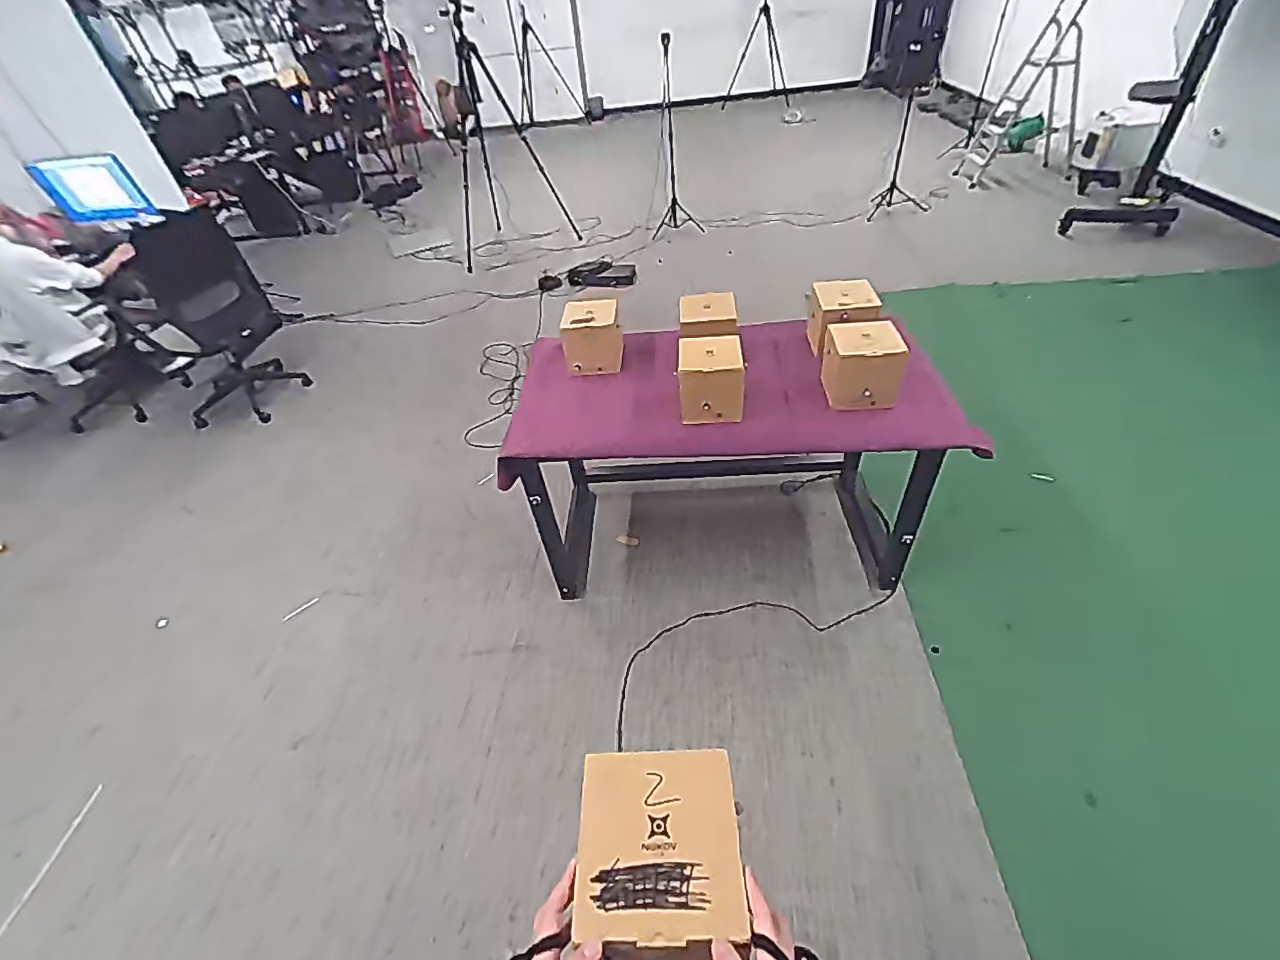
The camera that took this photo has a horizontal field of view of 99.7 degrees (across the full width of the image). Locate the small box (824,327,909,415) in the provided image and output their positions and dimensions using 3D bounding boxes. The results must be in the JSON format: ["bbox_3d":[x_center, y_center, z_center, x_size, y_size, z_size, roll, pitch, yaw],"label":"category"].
[{"bbox_3d":[0.596,-0.290,1.445,0.168,0.176,0.179,-1,41,8],"label":"small box"}]

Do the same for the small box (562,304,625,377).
[{"bbox_3d":[-0.140,-0.438,1.716,0.168,0.176,0.179,-2,42,5],"label":"small box"}]

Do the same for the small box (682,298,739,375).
[{"bbox_3d":[0.216,-0.444,1.676,0.168,0.176,0.179,-2,43,7],"label":"small box"}]

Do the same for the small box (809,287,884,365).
[{"bbox_3d":[0.617,-0.467,1.639,0.168,0.176,0.179,-2,43,7],"label":"small box"}]
